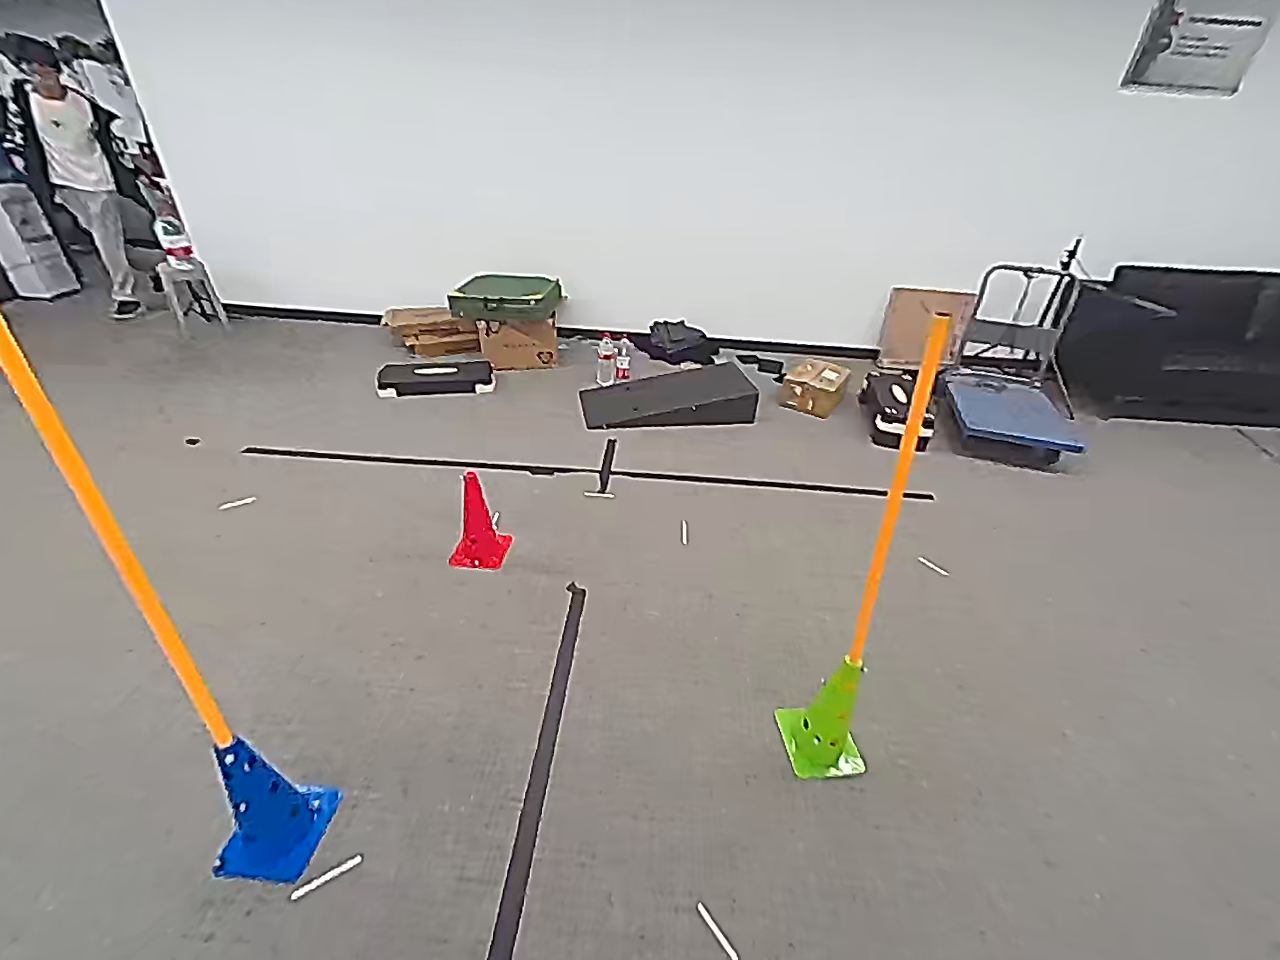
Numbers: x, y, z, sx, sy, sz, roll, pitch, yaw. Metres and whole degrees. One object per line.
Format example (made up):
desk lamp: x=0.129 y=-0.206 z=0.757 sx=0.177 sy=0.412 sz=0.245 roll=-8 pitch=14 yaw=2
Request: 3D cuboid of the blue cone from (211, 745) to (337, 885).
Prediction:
blue cone: x=-0.822 y=0.681 z=1.161 sx=0.193 sy=0.380 sz=0.192 roll=6 pitch=33 yaw=4

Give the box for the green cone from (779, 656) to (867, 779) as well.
green cone: x=0.516 y=0.588 z=1.416 sx=0.200 sy=0.368 sz=0.202 roll=-1 pitch=35 yaw=-8
